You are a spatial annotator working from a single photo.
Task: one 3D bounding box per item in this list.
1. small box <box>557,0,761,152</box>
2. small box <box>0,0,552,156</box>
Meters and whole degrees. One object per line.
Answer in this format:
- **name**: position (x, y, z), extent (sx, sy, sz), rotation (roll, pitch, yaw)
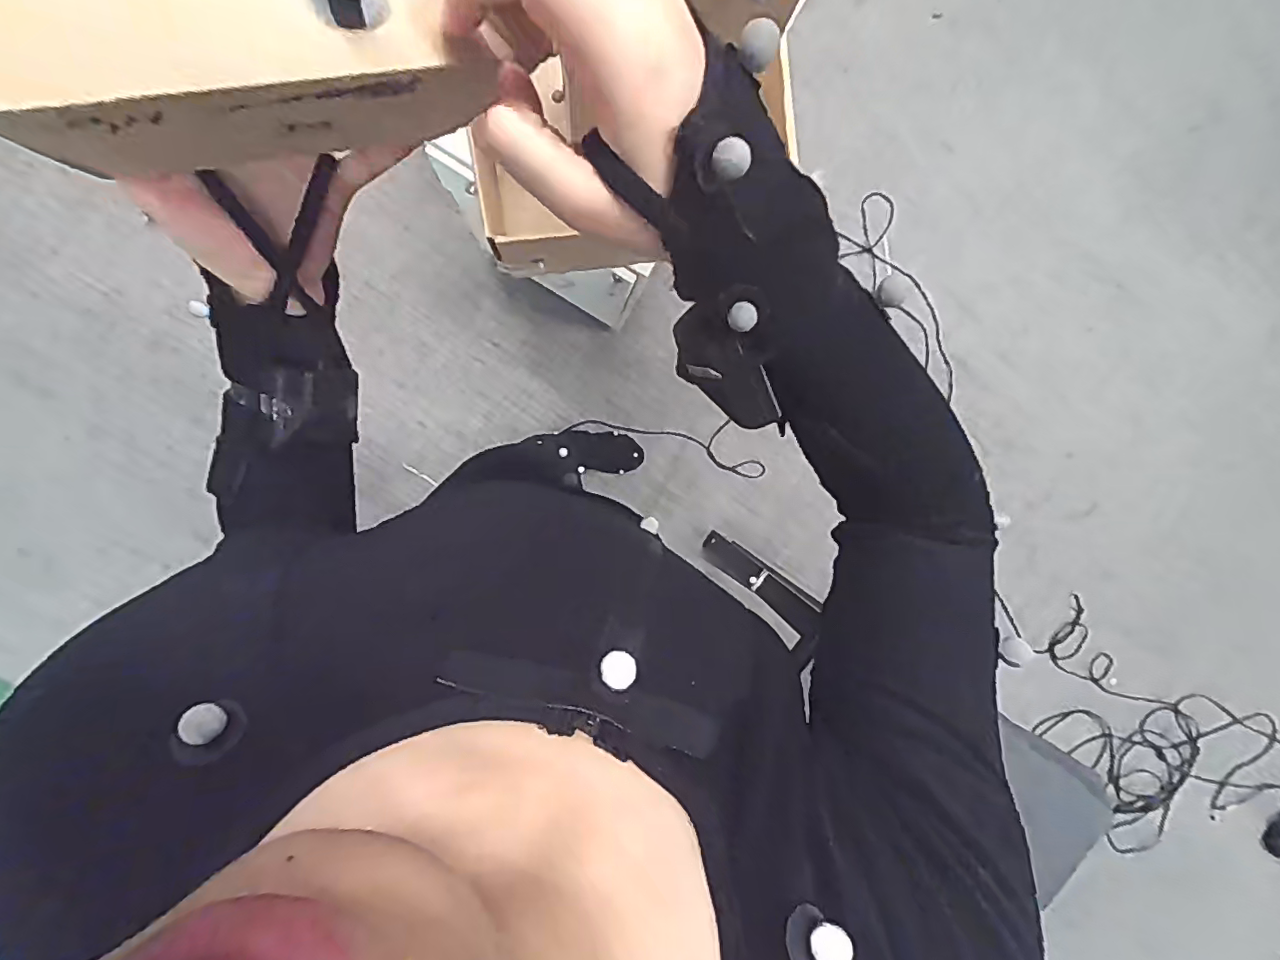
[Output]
- **small box**: position (0.008, -0.459, 0.544), extent (0.179, 0.176, 0.168), rotation (-7, 96, -4)
- **small box**: position (-0.156, -0.233, 0.195), extent (0.168, 0.179, 0.176), rotation (-26, 123, -23)
